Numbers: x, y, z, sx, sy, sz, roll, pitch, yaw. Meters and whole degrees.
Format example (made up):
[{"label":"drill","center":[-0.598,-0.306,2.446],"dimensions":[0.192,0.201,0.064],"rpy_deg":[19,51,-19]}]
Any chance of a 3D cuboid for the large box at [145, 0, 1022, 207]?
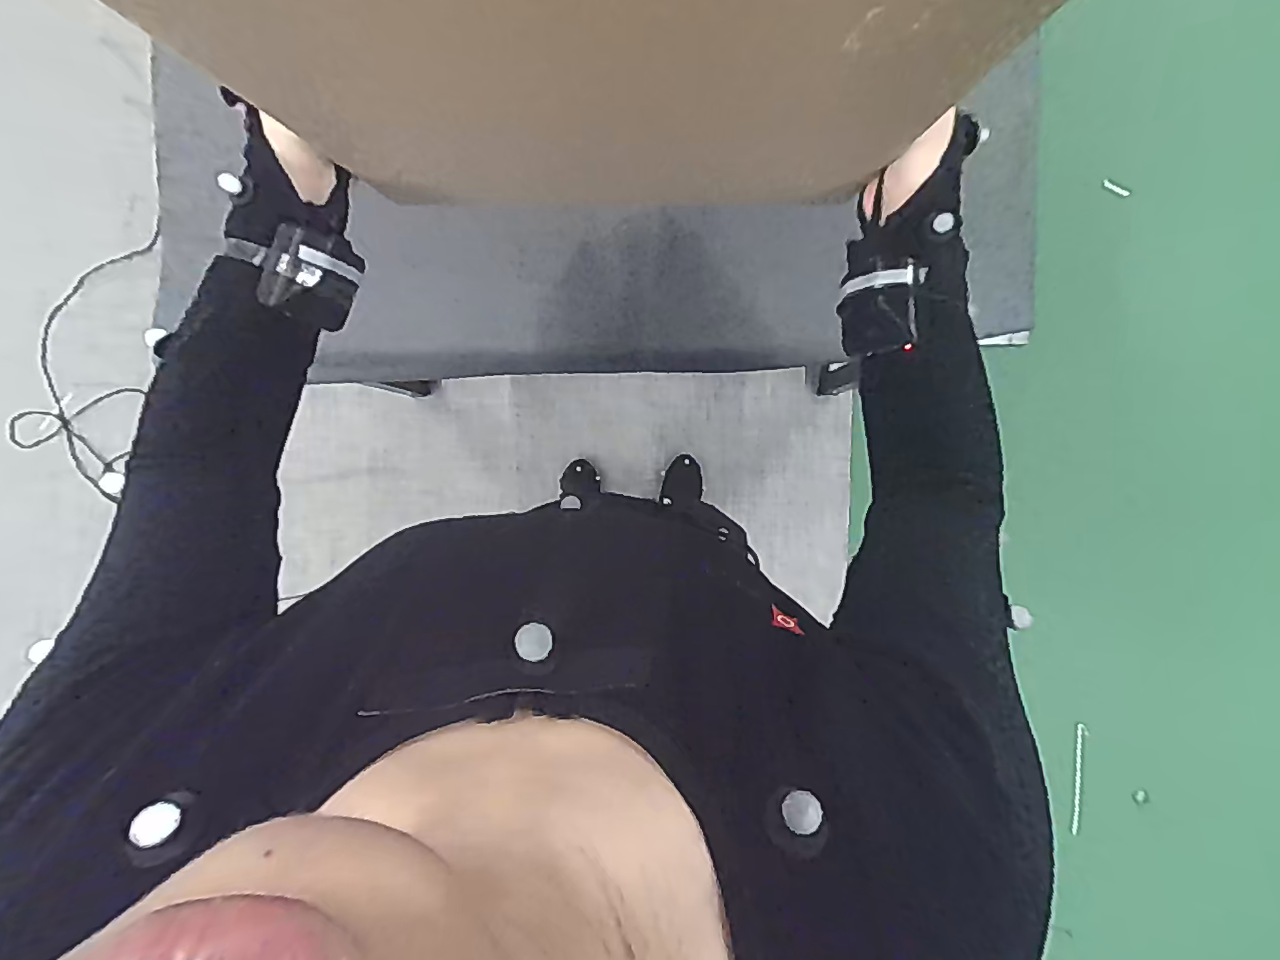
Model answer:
[{"label":"large box","center":[-0.023,-0.376,0.317],"dimensions":[0.408,0.320,0.320],"rpy_deg":[-1,101,0]}]
